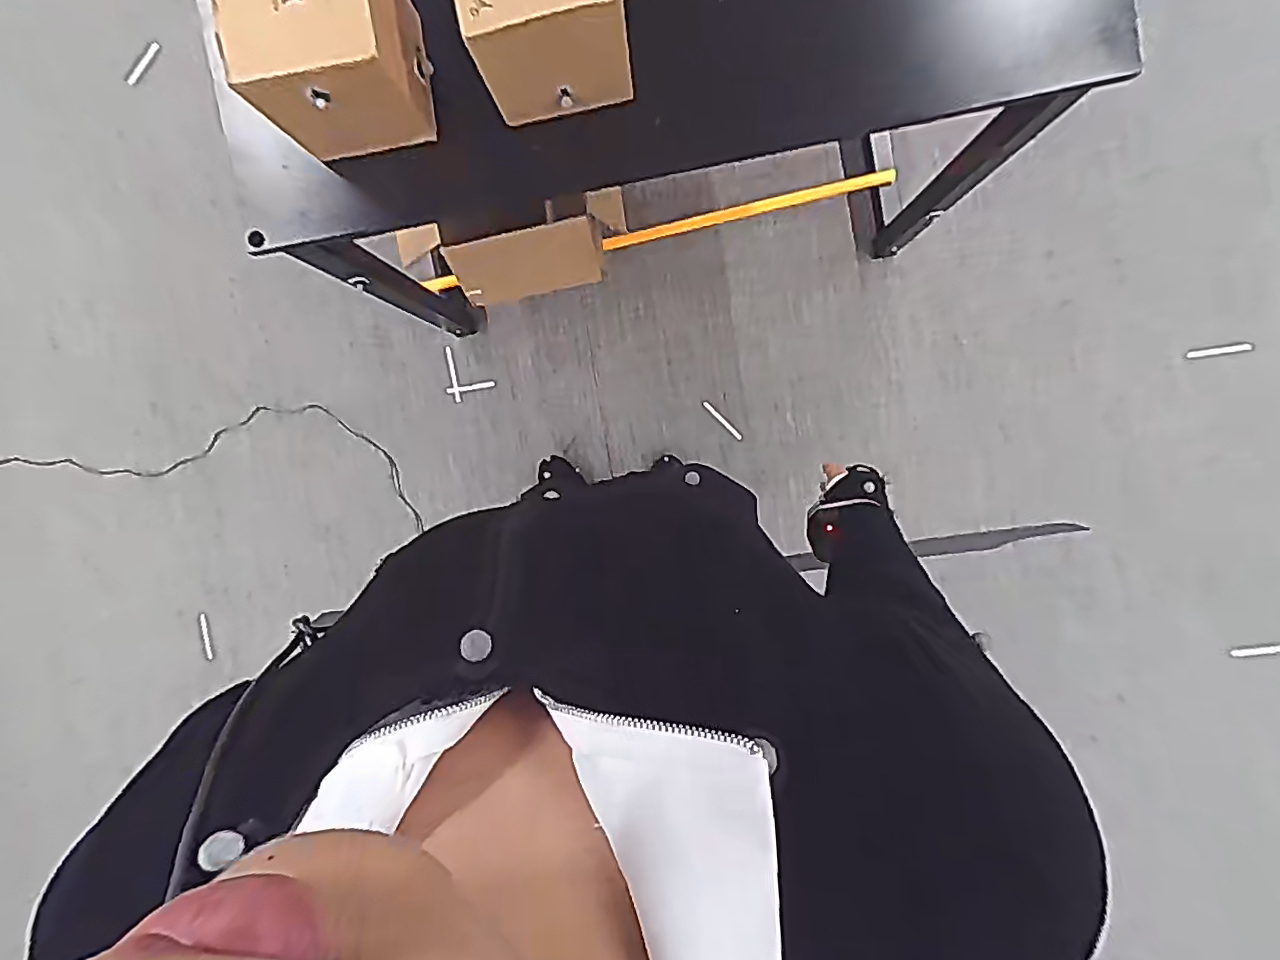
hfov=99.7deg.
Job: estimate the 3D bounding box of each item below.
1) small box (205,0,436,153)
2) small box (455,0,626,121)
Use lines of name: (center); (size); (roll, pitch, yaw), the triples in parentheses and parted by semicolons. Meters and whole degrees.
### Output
small box: (-0.375, -0.526, 0.650); (0.179, 0.176, 0.168); (-9, 95, 2)
small box: (-0.114, -0.565, 0.635); (0.179, 0.176, 0.168); (-11, 93, 3)
